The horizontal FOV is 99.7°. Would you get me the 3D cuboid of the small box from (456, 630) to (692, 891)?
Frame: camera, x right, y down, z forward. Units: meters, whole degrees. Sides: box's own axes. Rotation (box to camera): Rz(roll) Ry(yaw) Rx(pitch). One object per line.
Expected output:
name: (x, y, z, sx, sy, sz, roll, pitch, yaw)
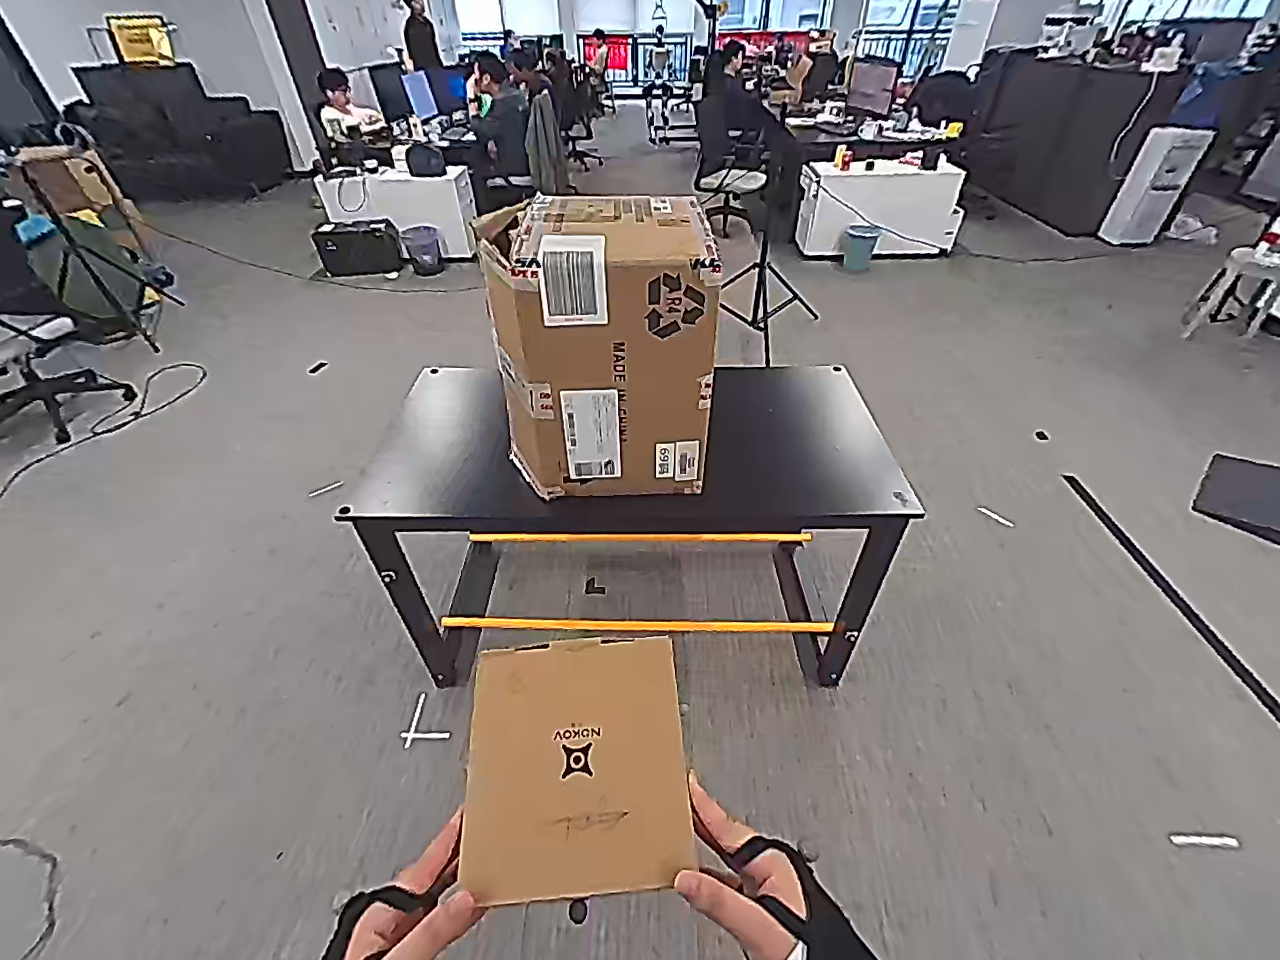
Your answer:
small box: (-0.051, 0.253, 0.484, 0.168, 0.176, 0.179, -4, 54, -3)
